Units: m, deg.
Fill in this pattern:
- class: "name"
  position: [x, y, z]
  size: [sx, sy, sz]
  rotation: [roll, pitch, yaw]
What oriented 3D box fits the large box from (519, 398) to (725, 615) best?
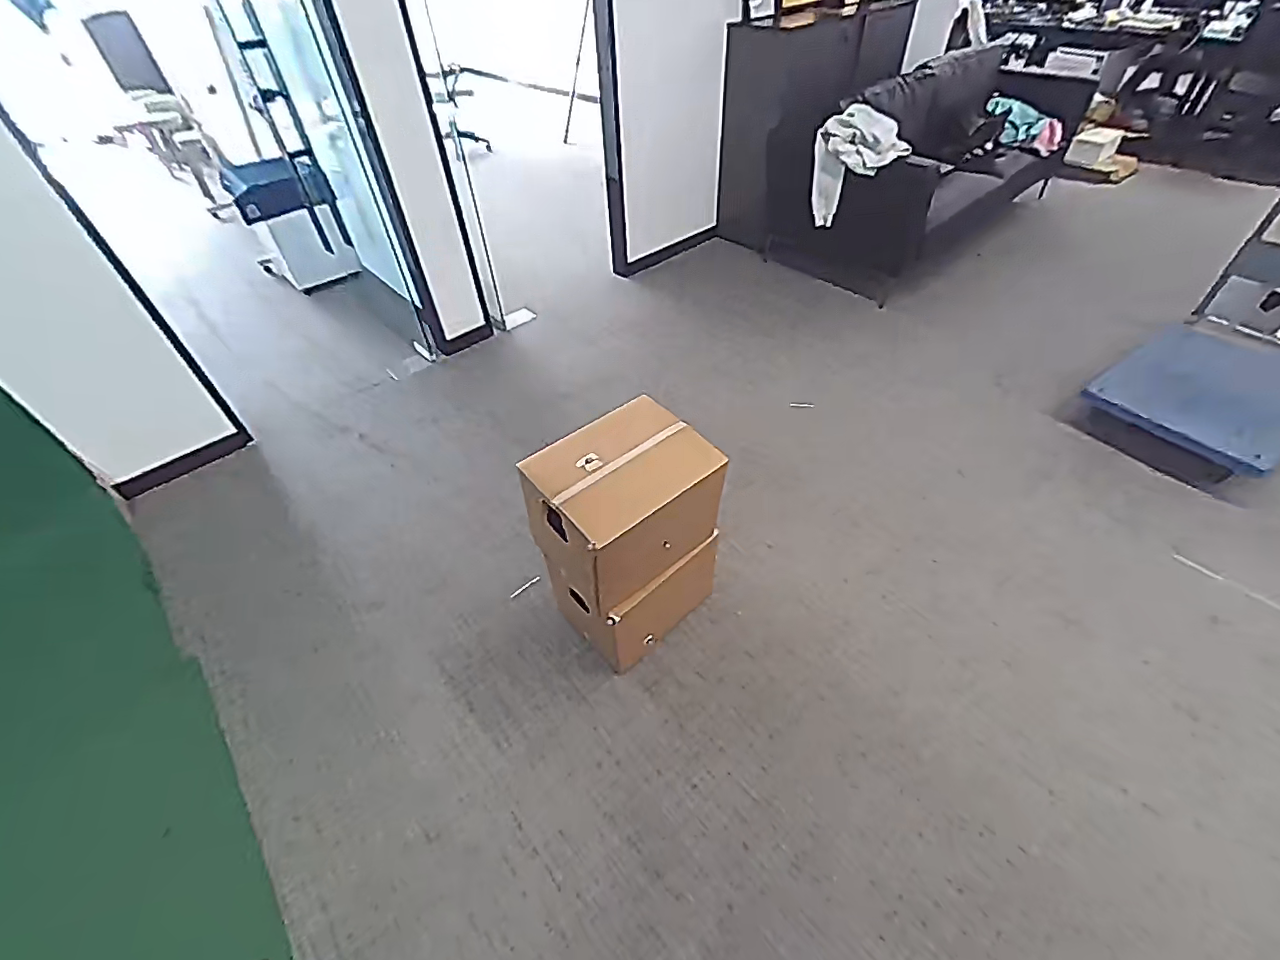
- class: "large box"
  position: [-0.042, 0.064, 1.390]
  size: [0.408, 0.320, 0.320]
  rotation: [-33, 57, -25]
